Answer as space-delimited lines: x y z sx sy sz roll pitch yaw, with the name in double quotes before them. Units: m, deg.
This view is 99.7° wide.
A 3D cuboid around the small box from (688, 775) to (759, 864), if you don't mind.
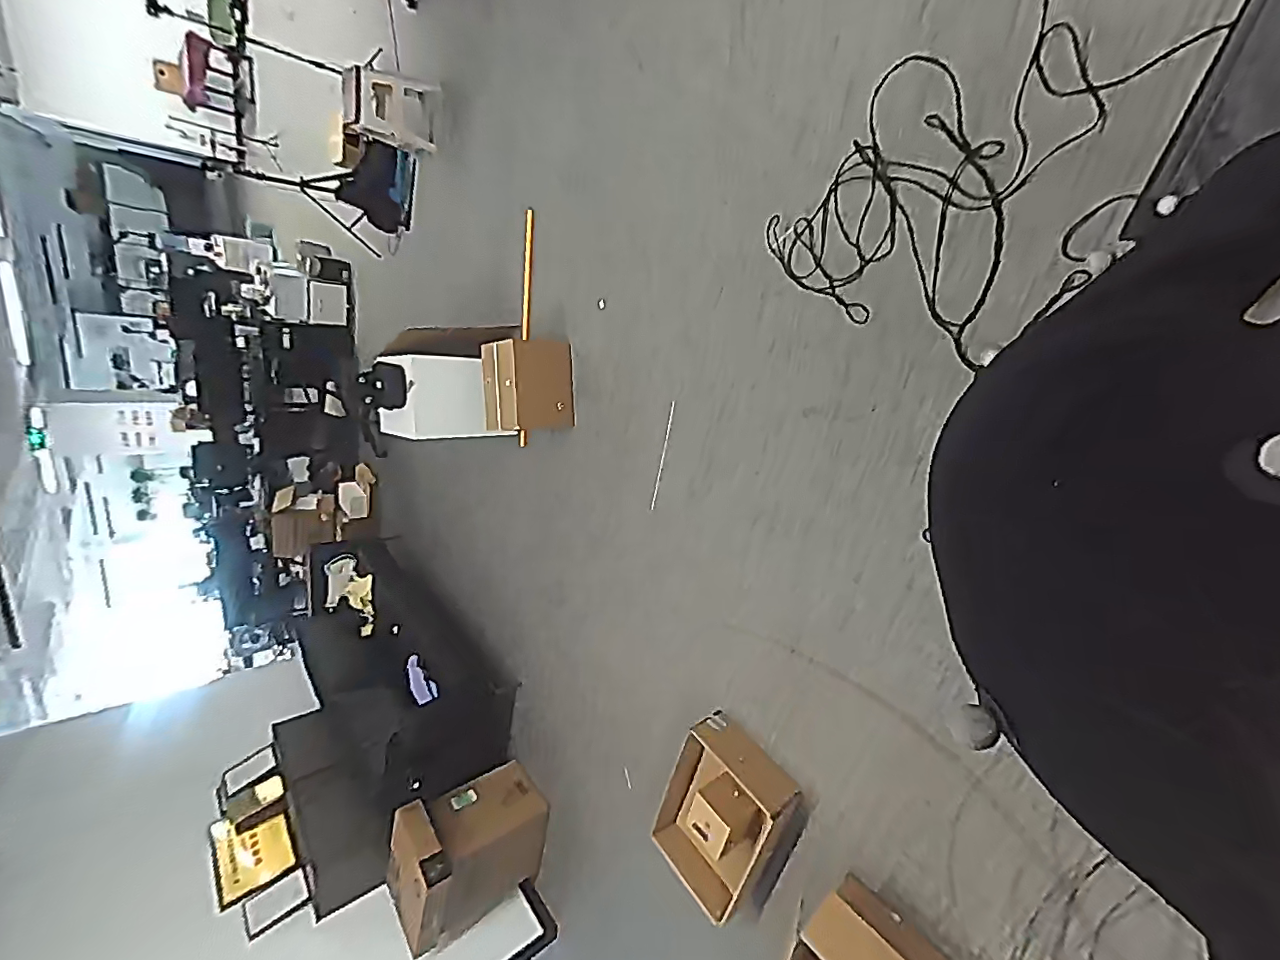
"small box" 0.300 1.201 1.925 0.168 0.176 0.179 33 120 42
